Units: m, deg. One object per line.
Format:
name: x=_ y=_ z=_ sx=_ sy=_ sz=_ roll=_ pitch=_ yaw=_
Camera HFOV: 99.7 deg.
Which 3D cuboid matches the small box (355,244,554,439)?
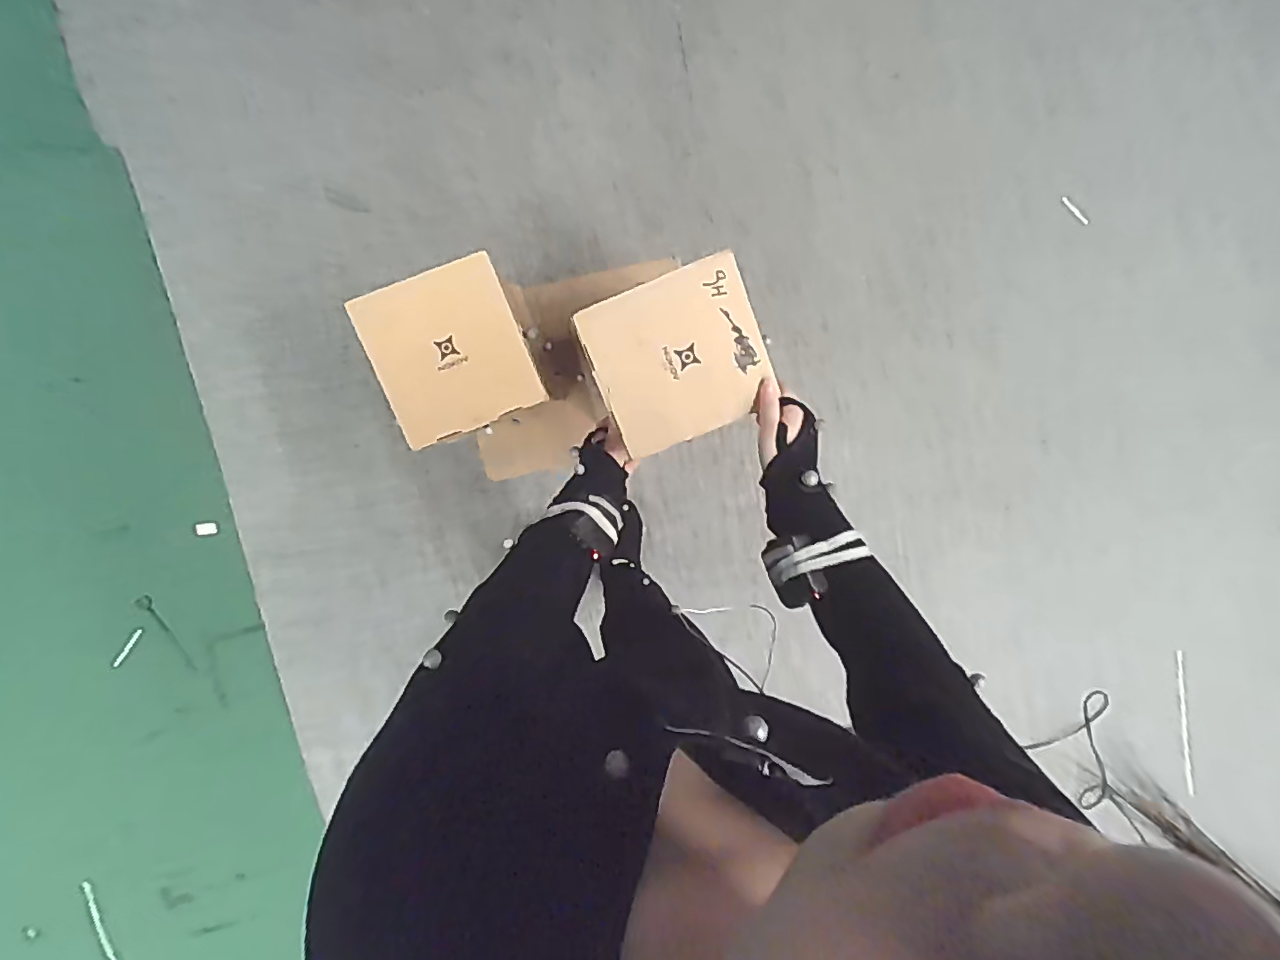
small box: x=-0.216 y=-0.163 z=0.680 sx=0.168 sy=0.176 sz=0.179 roll=-21 pitch=100 yaw=-3
